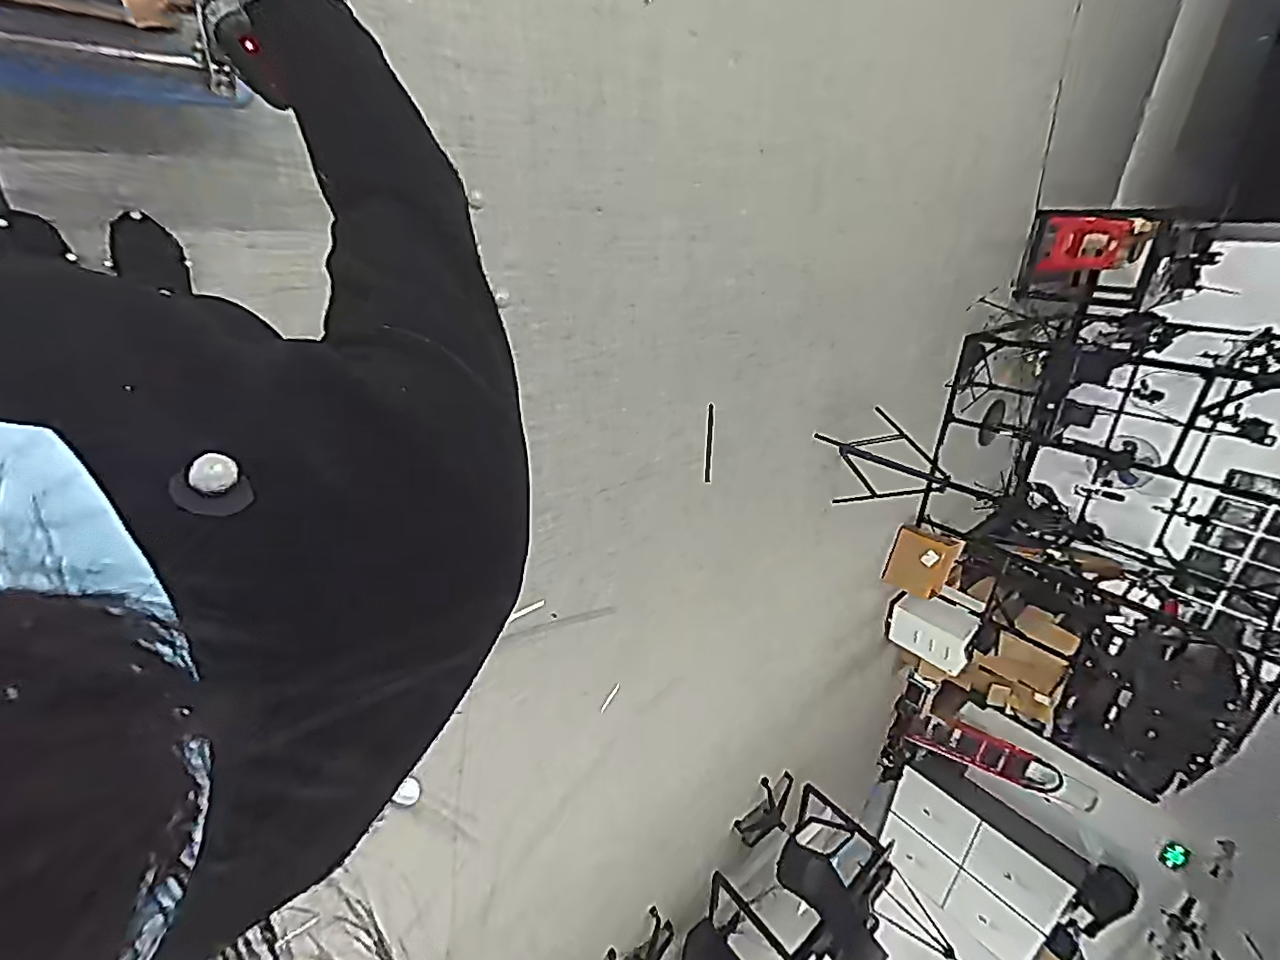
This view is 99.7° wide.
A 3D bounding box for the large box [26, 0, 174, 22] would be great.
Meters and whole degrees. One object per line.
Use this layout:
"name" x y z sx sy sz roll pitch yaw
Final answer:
"large box" -0.790 -0.747 0.566 0.408 0.320 0.320 -20 123 -37
